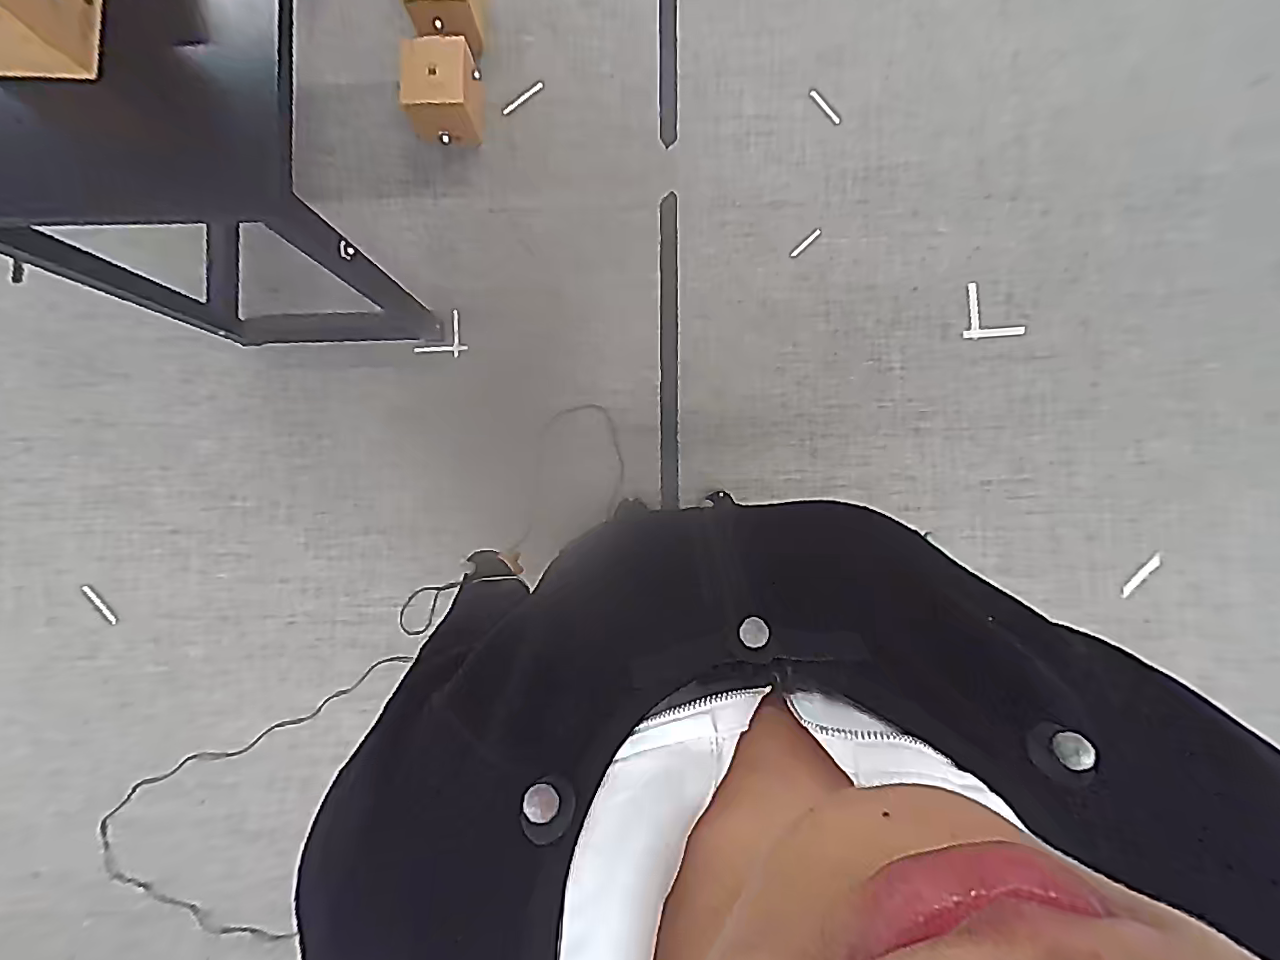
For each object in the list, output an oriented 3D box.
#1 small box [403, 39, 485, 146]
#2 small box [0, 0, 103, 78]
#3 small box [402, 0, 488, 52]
[{"bbox_3d":[-0.526,-1.044,1.465,0.168,0.176,0.179,-1,89,1],"label":"small box"},{"bbox_3d":[-0.888,-0.683,0.729,0.179,0.176,0.168,2,88,1],"label":"small box"},{"bbox_3d":[-0.525,-1.307,1.469,0.179,0.176,0.168,-2,89,1],"label":"small box"}]
